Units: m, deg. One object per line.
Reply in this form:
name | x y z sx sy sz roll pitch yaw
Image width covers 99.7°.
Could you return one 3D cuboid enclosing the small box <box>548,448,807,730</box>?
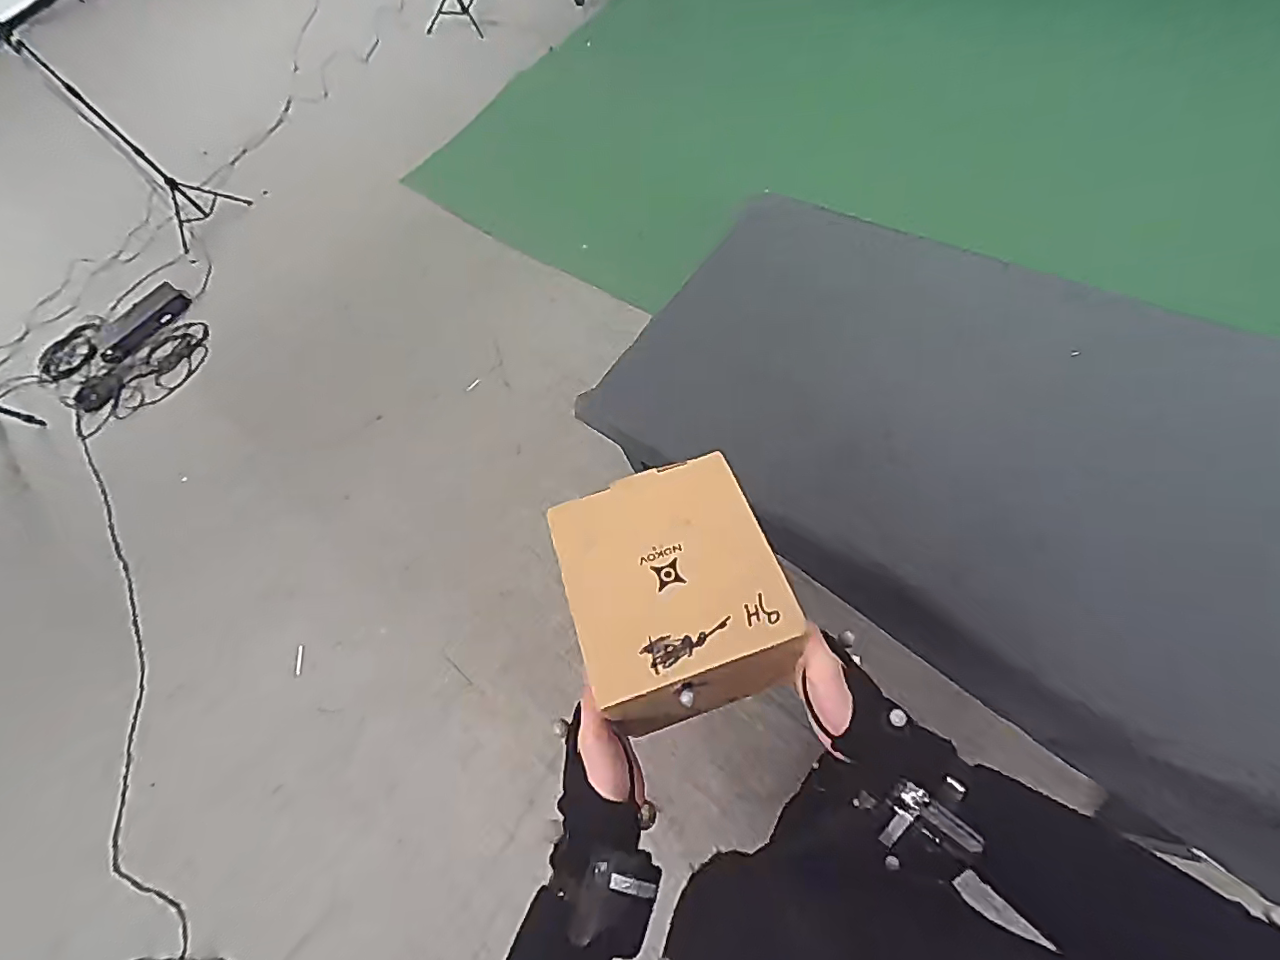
small box | 0.031 0.106 0.497 0.168 0.176 0.179 -20 57 -2
